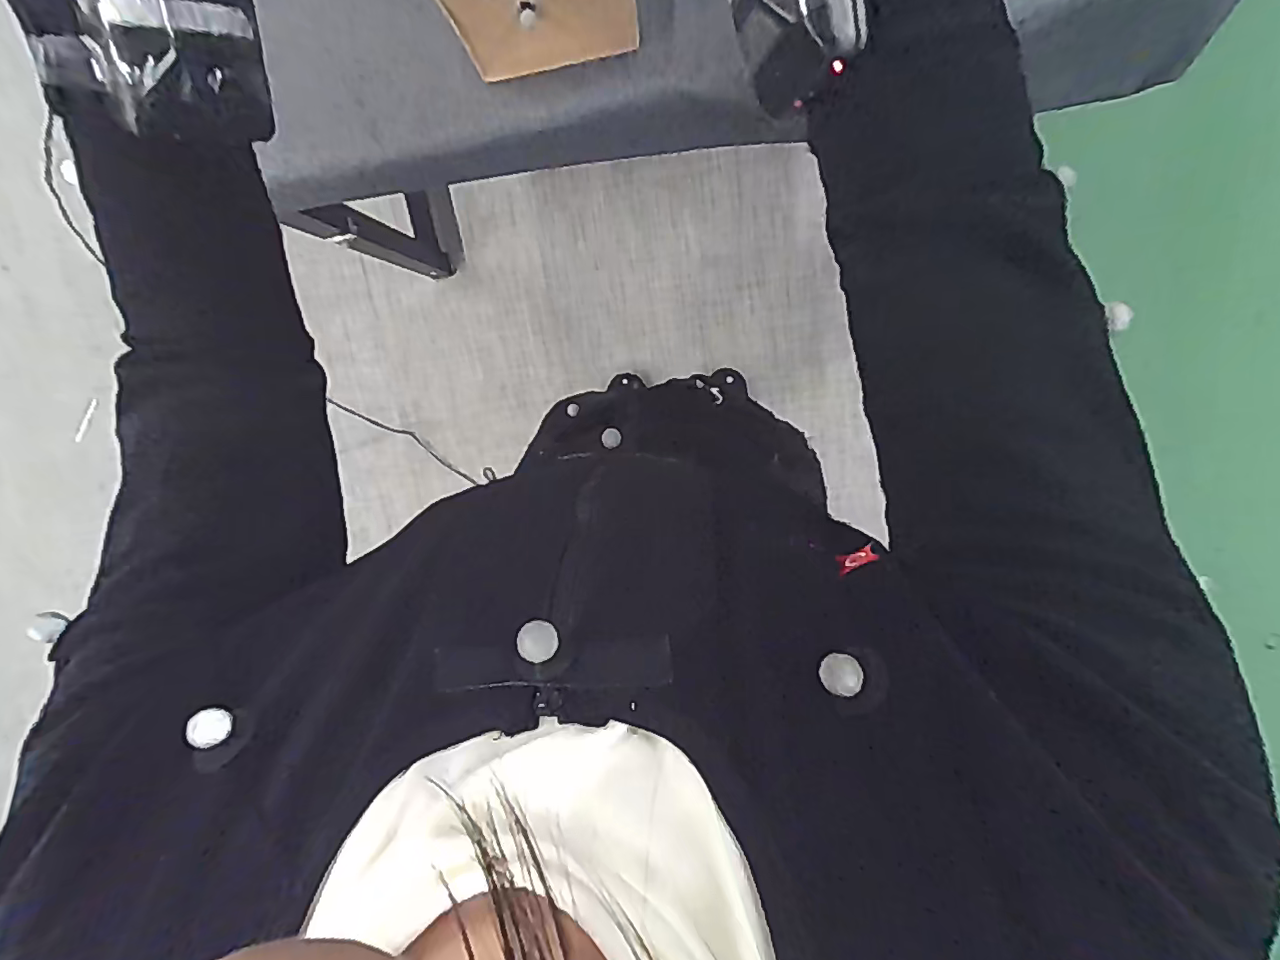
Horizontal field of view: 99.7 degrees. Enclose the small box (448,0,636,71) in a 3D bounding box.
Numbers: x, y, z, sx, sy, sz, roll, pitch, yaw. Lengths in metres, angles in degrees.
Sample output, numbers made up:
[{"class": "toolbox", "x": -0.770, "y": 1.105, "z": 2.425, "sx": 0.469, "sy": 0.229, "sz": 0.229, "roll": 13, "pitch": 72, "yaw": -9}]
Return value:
[{"class": "small box", "x": -0.105, "y": -0.524, "z": 0.503, "sx": 0.179, "sy": 0.176, "sz": 0.168, "roll": -9, "pitch": 100, "yaw": 5}]
